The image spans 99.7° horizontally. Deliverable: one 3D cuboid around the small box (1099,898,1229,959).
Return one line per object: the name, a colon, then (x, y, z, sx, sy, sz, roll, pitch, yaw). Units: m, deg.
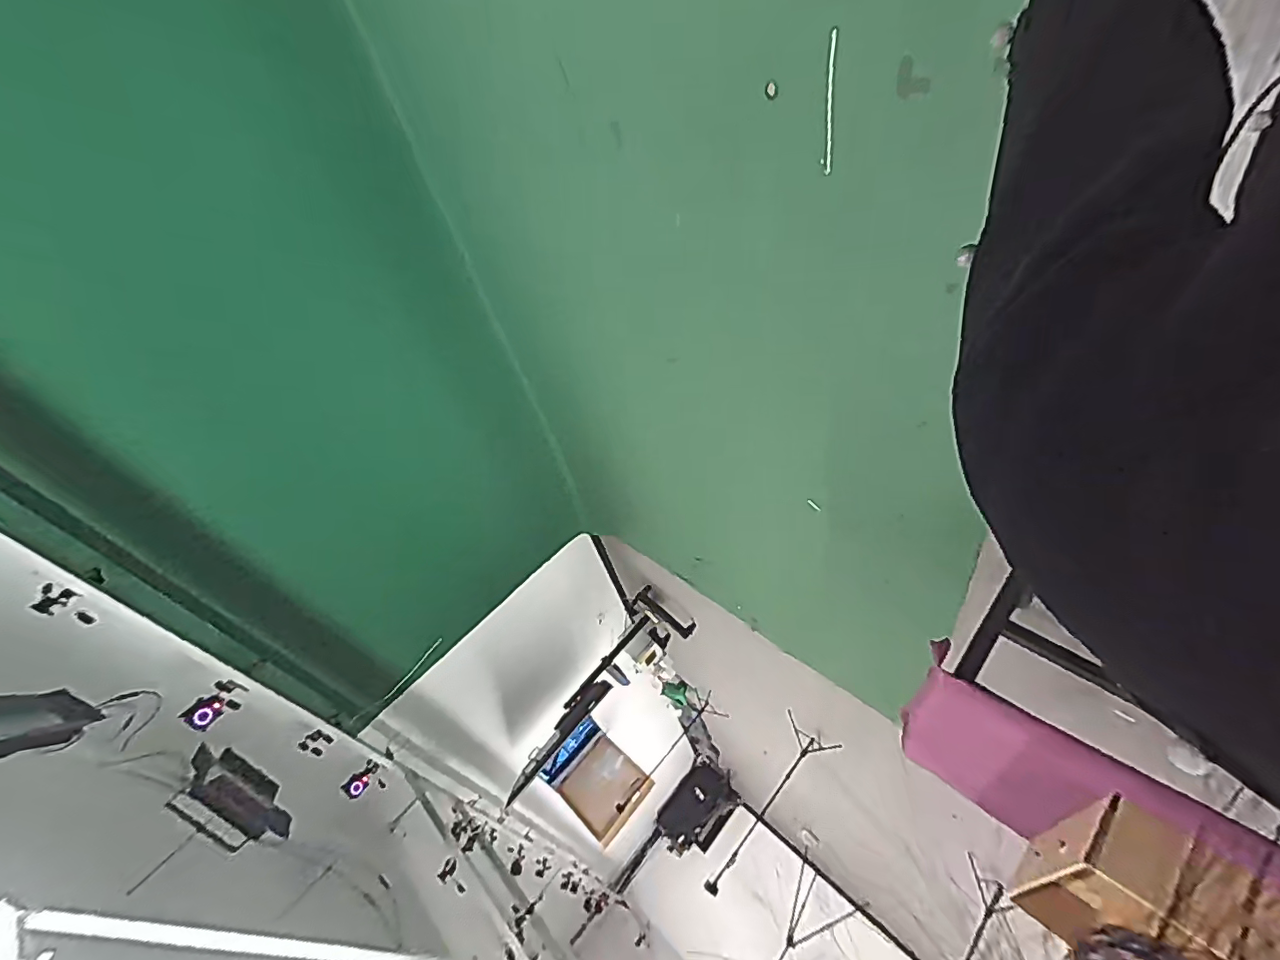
small box: (1.237, 1.138, 1.282, 0.168, 0.176, 0.179, 30, 150, 36)

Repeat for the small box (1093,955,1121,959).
small box: (1.122, 1.231, 1.218, 0.179, 0.176, 0.168, 29, 149, 38)
